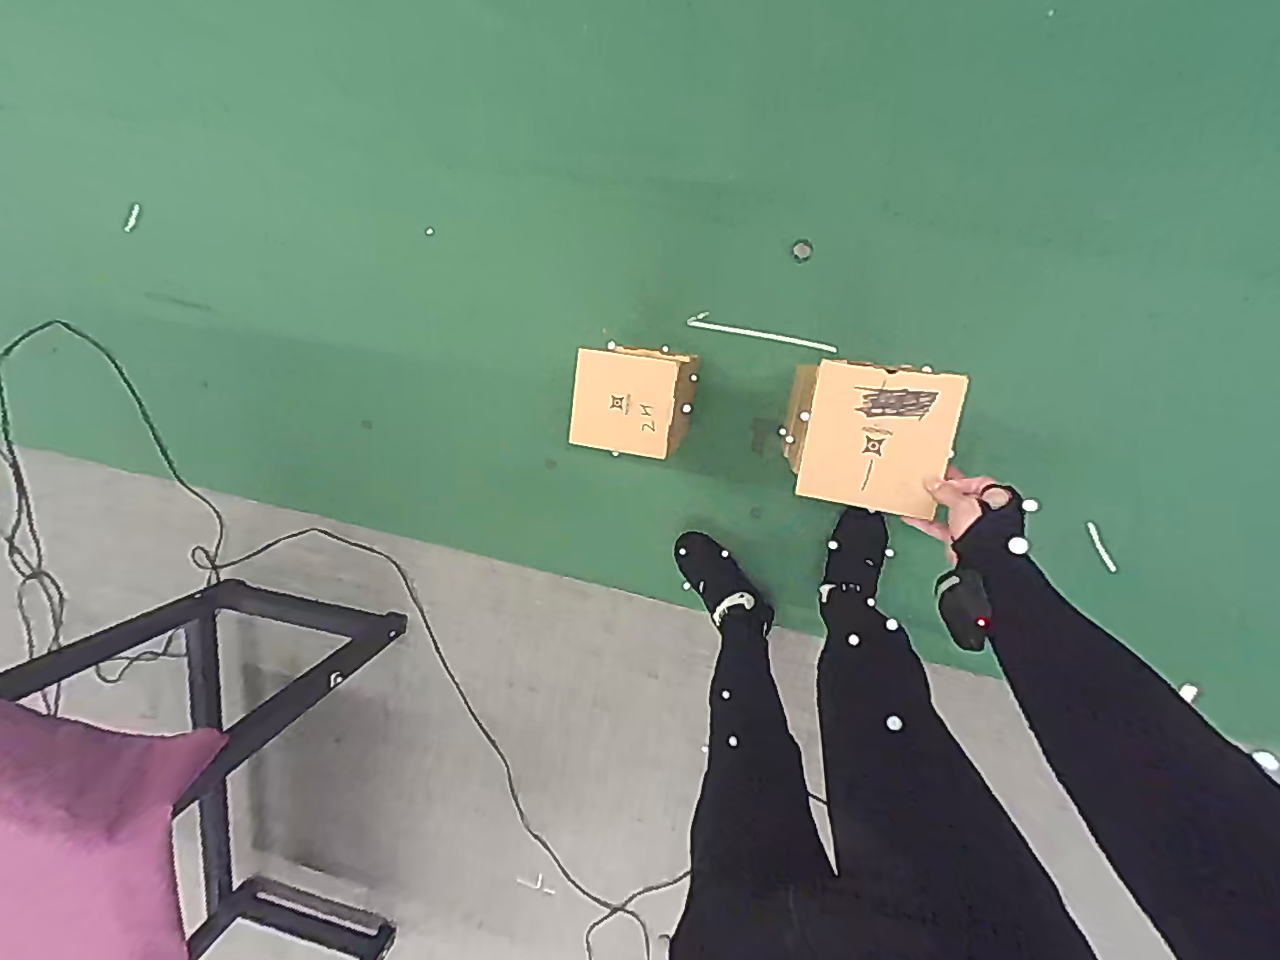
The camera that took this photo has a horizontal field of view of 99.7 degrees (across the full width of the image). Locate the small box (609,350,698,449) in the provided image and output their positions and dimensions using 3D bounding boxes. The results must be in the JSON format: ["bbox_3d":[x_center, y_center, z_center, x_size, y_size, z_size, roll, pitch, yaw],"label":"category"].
[{"bbox_3d":[0.024,-0.174,1.141,0.168,0.176,0.179,10,103,10],"label":"small box"}]

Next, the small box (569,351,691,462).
[{"bbox_3d":[-0.012,-0.137,0.985,0.179,0.176,0.168,10,104,10],"label":"small box"}]

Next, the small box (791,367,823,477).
[{"bbox_3d":[0.356,-0.091,0.917,0.168,0.176,0.179,10,104,8],"label":"small box"}]

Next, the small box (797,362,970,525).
[{"bbox_3d":[0.316,-0.056,0.727,0.168,0.176,0.179,12,102,20],"label":"small box"}]
